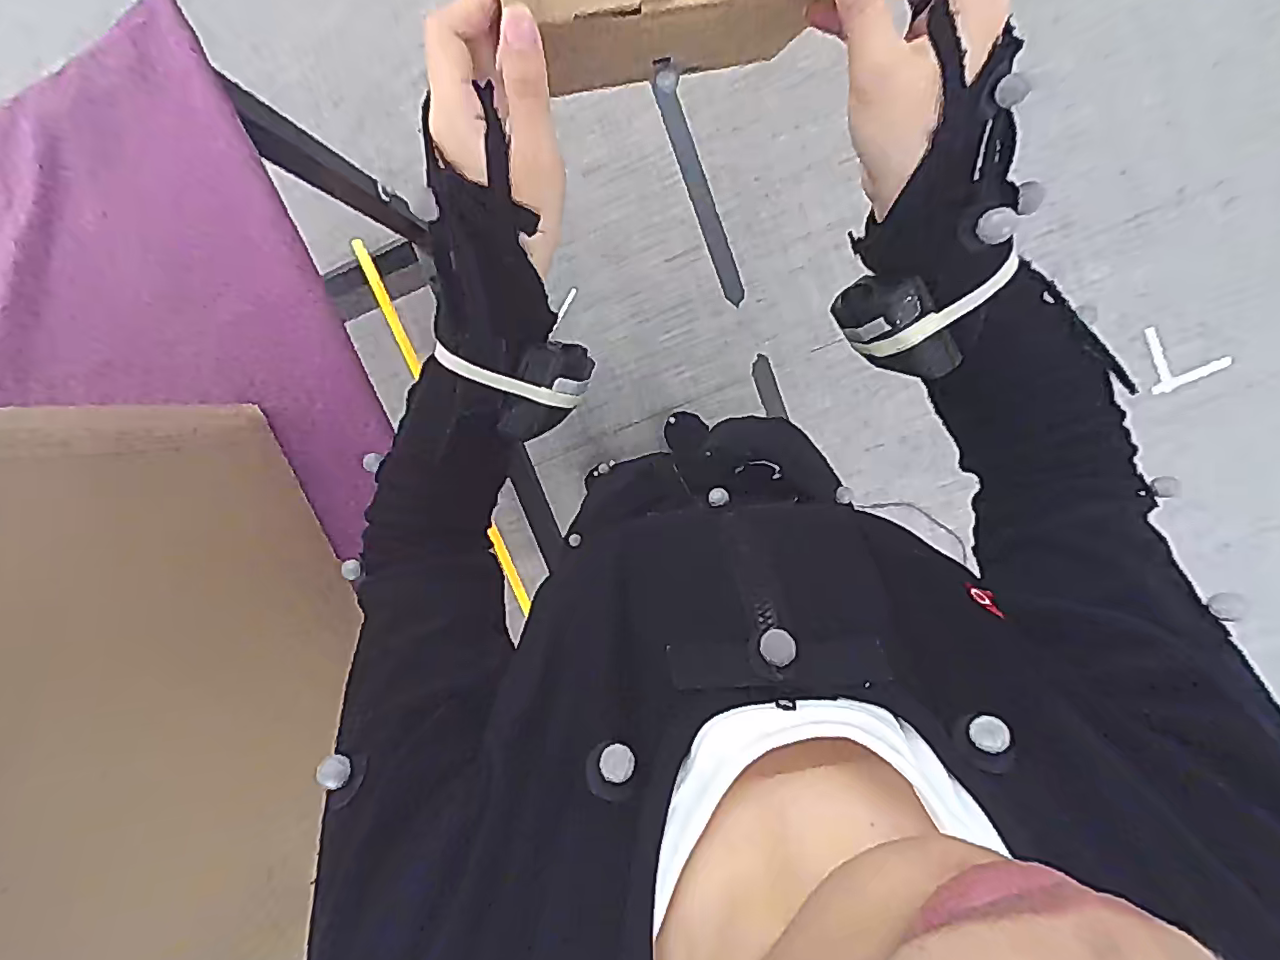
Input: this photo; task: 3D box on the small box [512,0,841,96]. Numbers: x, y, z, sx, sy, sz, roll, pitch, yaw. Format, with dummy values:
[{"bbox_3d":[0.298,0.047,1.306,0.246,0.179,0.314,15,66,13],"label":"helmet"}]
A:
[{"bbox_3d":[0.009,-0.327,0.277,0.168,0.176,0.179,-8,117,1],"label":"small box"}]
